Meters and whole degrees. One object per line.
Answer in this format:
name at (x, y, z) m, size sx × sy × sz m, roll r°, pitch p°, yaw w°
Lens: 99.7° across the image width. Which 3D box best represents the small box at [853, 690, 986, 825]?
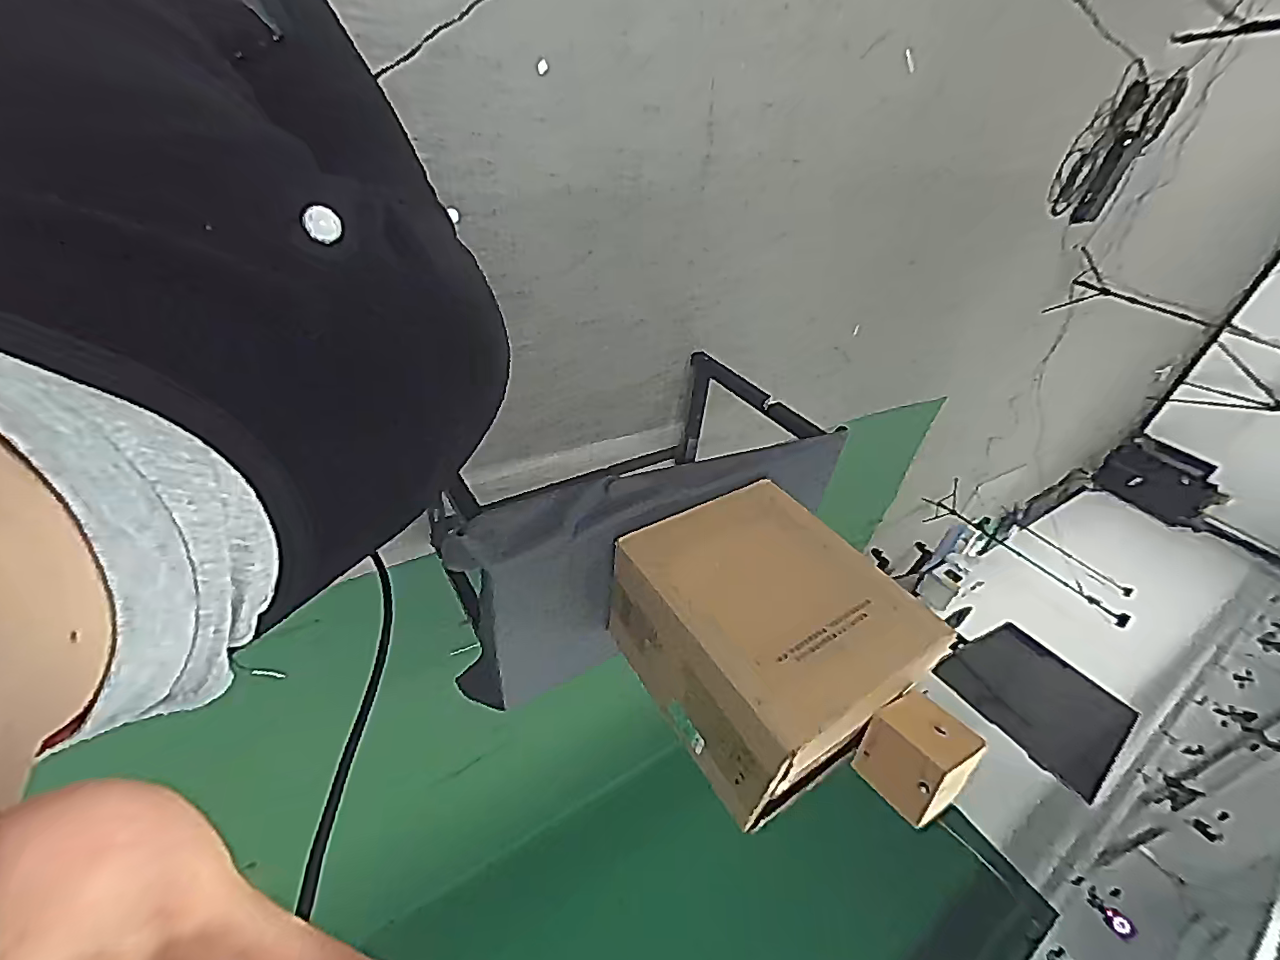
small box at (0.604, 0.594, 1.182) m, size 0.179 × 0.176 × 0.168 m, roll -6°, pitch 117°, yaw -35°
